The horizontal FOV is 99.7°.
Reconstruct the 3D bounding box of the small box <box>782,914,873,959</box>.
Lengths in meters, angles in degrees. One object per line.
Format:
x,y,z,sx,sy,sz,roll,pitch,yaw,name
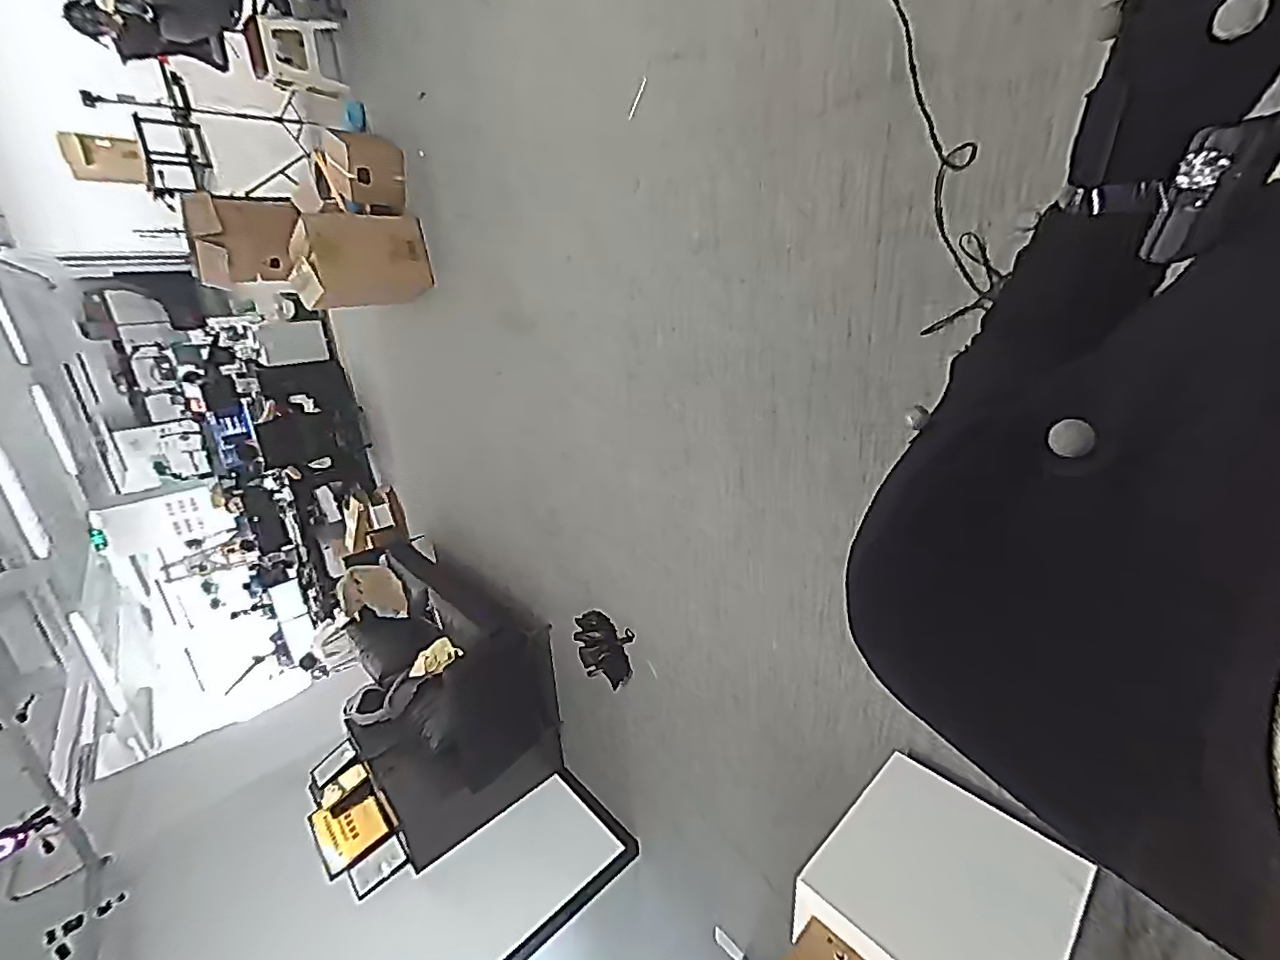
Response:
0.444,1.198,1.276,0.168,0.176,0.179,15,116,46,small box
